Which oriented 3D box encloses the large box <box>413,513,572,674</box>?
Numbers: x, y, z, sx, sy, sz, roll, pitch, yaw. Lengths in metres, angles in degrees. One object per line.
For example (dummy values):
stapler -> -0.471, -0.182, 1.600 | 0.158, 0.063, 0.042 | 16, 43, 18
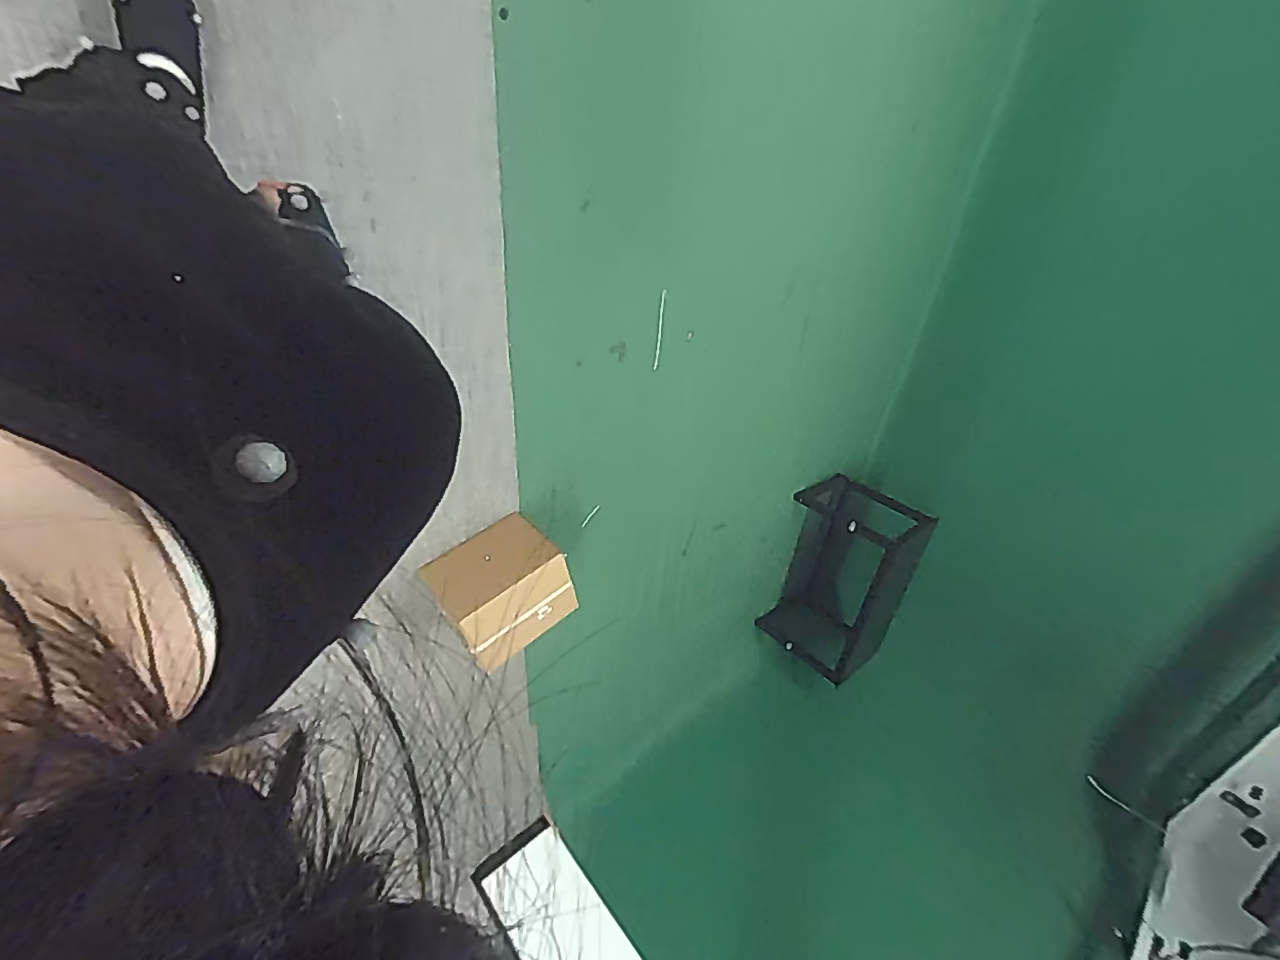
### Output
large box -> -0.517, 0.393, 1.937 | 0.408, 0.320, 0.320 | -35, 138, -28
